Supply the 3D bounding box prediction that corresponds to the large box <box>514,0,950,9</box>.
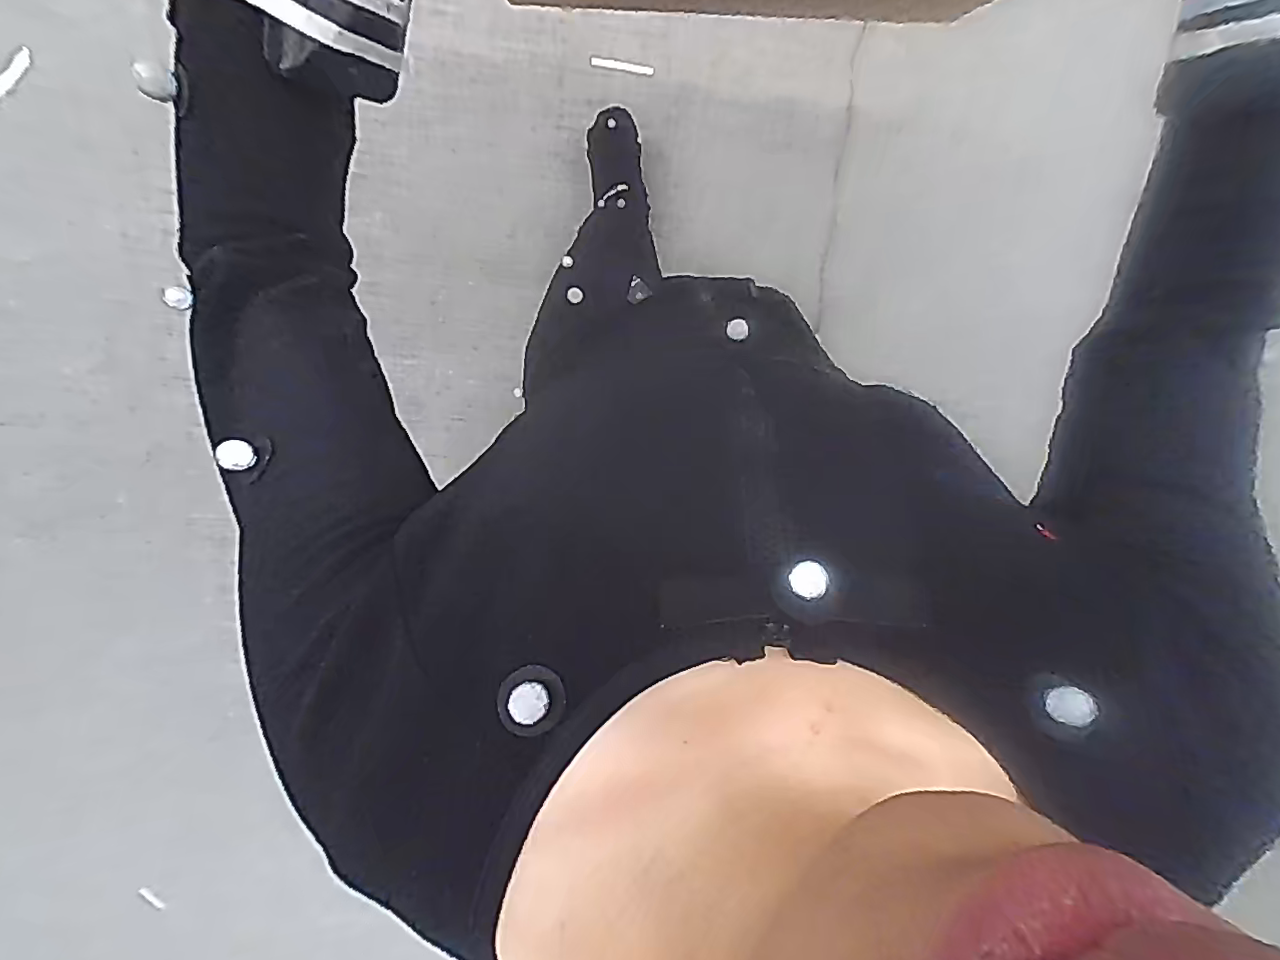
[{"bbox_3d":[0.080,-0.492,0.288,0.408,0.320,0.320,1,119,-1],"label":"large box"}]
